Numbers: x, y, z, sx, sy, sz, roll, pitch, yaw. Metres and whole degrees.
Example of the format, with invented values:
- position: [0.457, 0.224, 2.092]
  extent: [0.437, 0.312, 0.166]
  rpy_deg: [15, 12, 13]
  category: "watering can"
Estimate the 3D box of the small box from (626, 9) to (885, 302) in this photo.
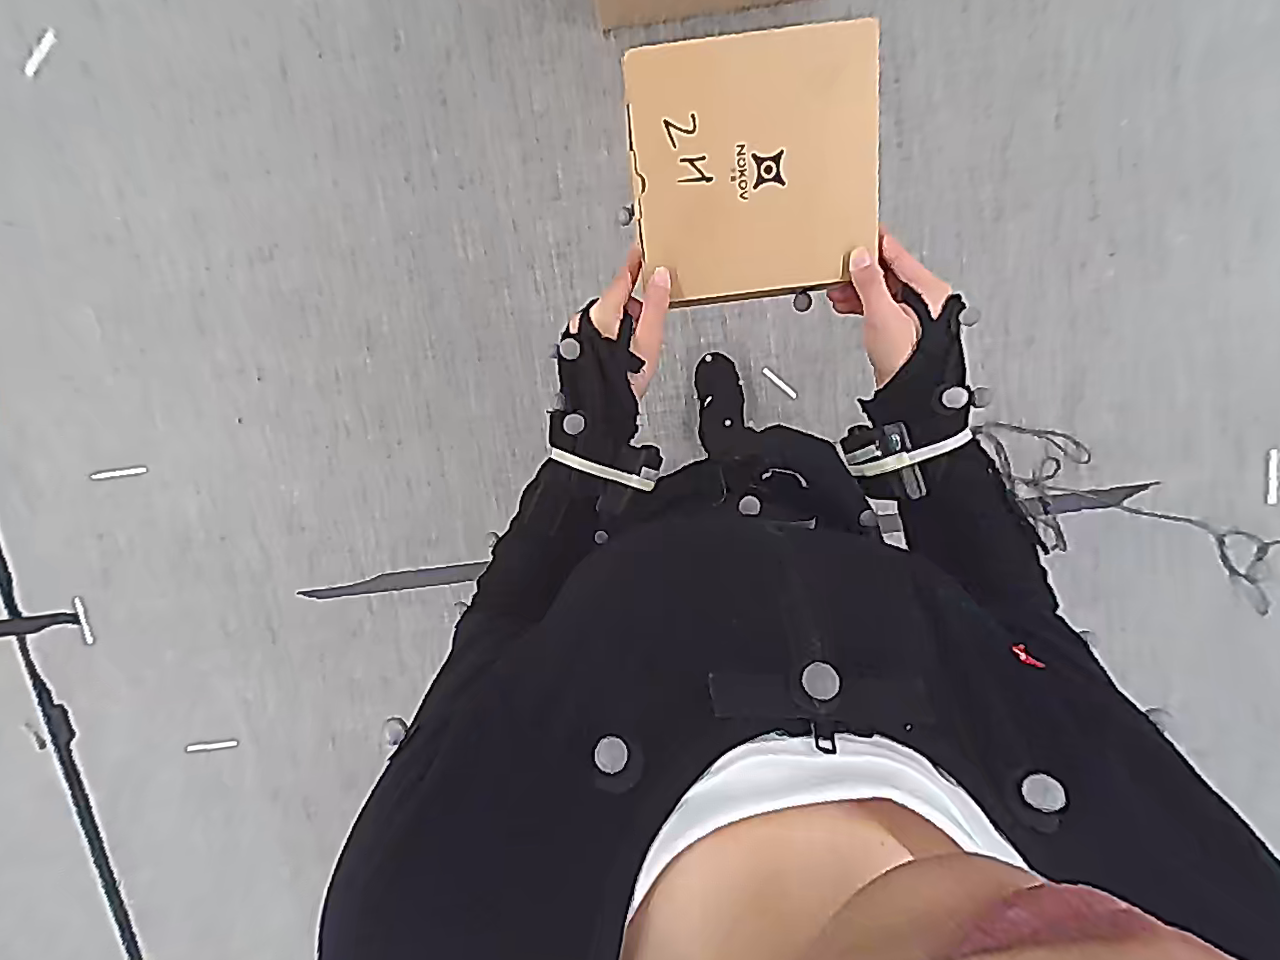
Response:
- position: [0.082, -0.247, 0.456]
  extent: [0.179, 0.176, 0.168]
  rpy_deg: [-6, 105, 1]
  category: "small box"
